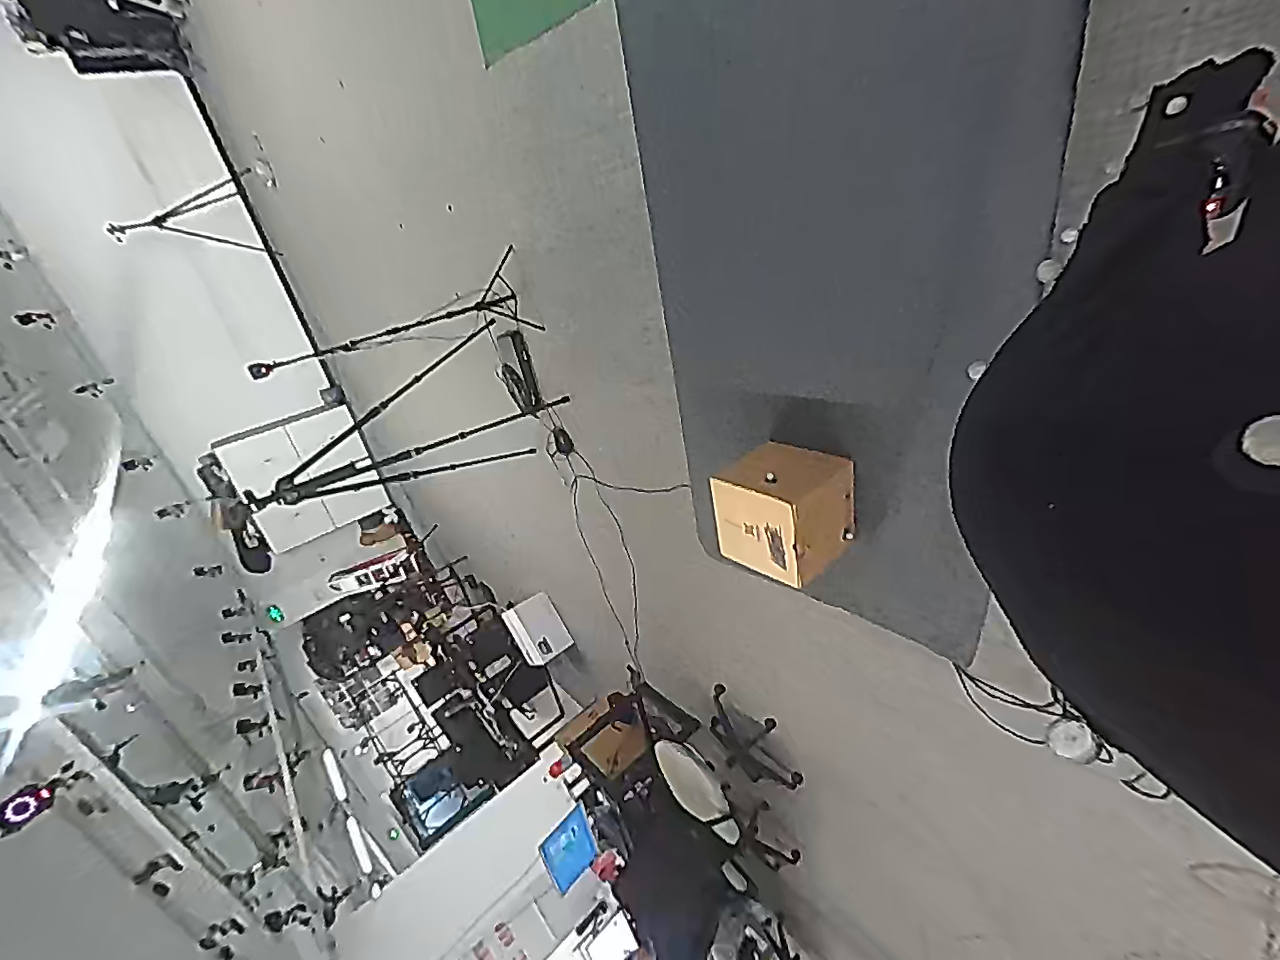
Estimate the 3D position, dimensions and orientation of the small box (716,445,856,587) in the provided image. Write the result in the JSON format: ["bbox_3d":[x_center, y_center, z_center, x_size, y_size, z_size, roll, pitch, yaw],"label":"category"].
[{"bbox_3d":[0.263,0.052,0.952,0.179,0.176,0.168,21,131,48],"label":"small box"}]
